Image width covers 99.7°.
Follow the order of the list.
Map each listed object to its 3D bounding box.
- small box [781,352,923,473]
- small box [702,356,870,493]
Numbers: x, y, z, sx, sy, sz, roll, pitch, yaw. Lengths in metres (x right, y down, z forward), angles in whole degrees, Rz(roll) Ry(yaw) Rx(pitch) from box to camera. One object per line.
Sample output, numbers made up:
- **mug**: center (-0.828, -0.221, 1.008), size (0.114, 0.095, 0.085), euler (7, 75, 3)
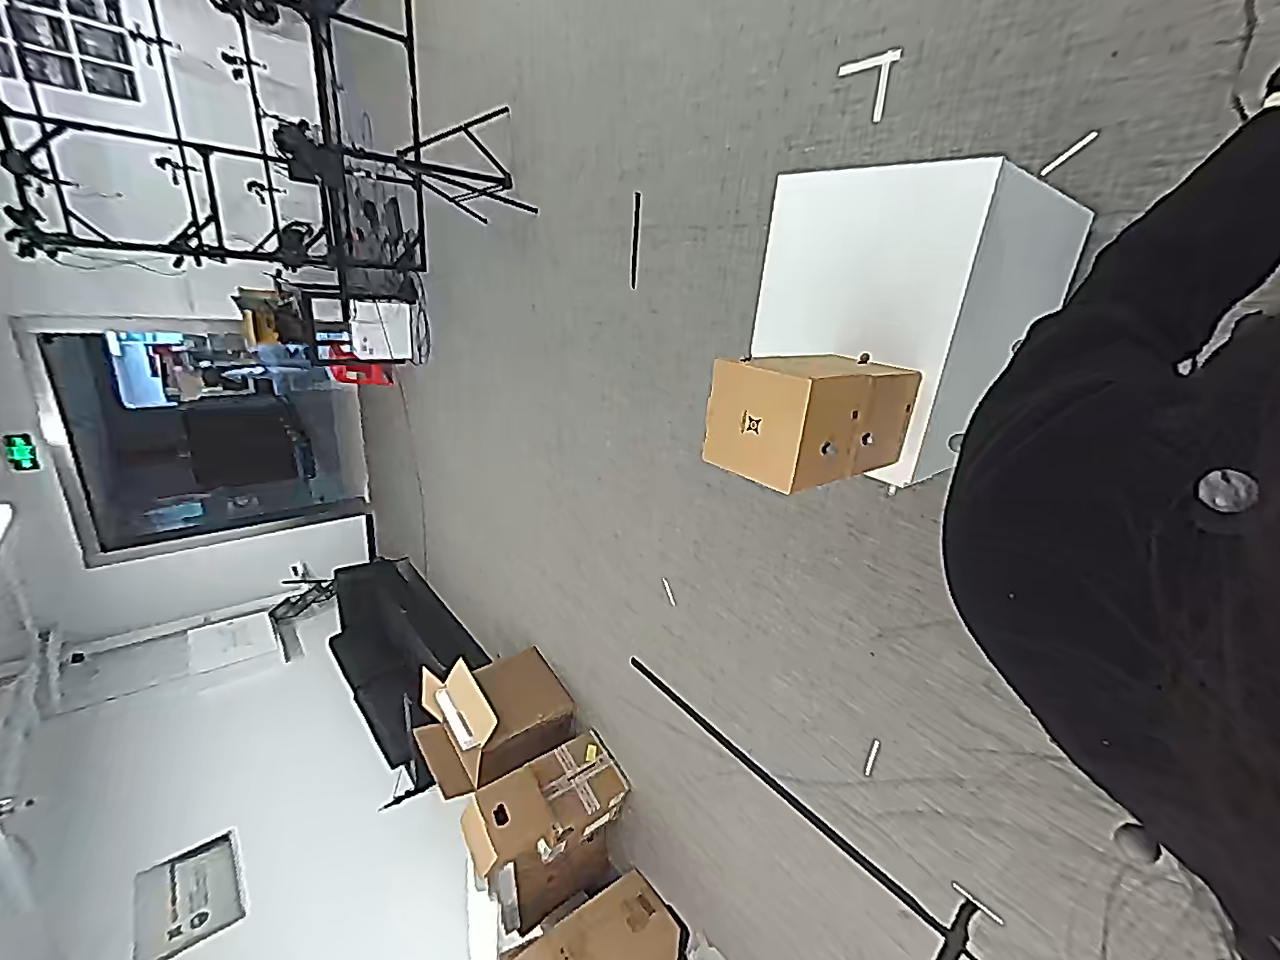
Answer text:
- **small box**: center (0.347, -0.124, 0.934), size (0.179, 0.176, 0.168), euler (28, 121, 45)
- **small box**: center (0.223, -0.097, 0.831), size (0.179, 0.176, 0.168), euler (26, 119, 45)
